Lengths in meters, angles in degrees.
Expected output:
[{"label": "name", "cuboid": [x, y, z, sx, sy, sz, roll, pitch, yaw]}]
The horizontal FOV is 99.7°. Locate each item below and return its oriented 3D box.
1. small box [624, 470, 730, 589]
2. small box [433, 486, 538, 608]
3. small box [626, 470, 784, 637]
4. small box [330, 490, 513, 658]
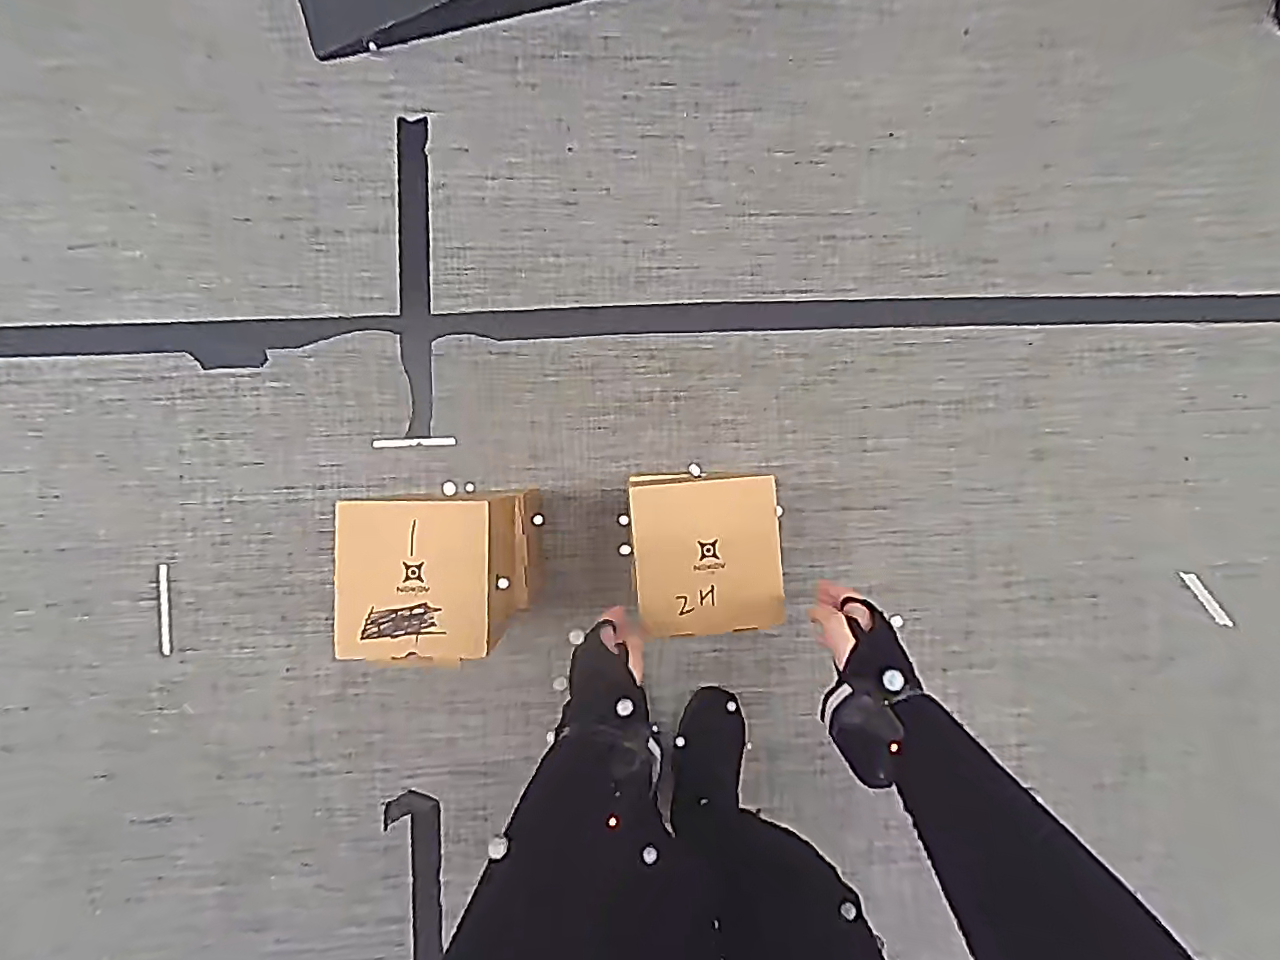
[{"label": "small box", "cuboid": [0.067, 0.068, 0.840, 0.179, 0.176, 0.168, -2, 91, -3]}, {"label": "small box", "cuboid": [-0.251, 0.097, 0.826, 0.179, 0.176, 0.168, -2, 92, -2]}, {"label": "small box", "cuboid": [0.070, 0.080, 0.675, 0.168, 0.176, 0.179, -4, 92, -2]}, {"label": "small box", "cuboid": [-0.253, 0.104, 0.662, 0.168, 0.176, 0.179, 0, 90, -3]}]
